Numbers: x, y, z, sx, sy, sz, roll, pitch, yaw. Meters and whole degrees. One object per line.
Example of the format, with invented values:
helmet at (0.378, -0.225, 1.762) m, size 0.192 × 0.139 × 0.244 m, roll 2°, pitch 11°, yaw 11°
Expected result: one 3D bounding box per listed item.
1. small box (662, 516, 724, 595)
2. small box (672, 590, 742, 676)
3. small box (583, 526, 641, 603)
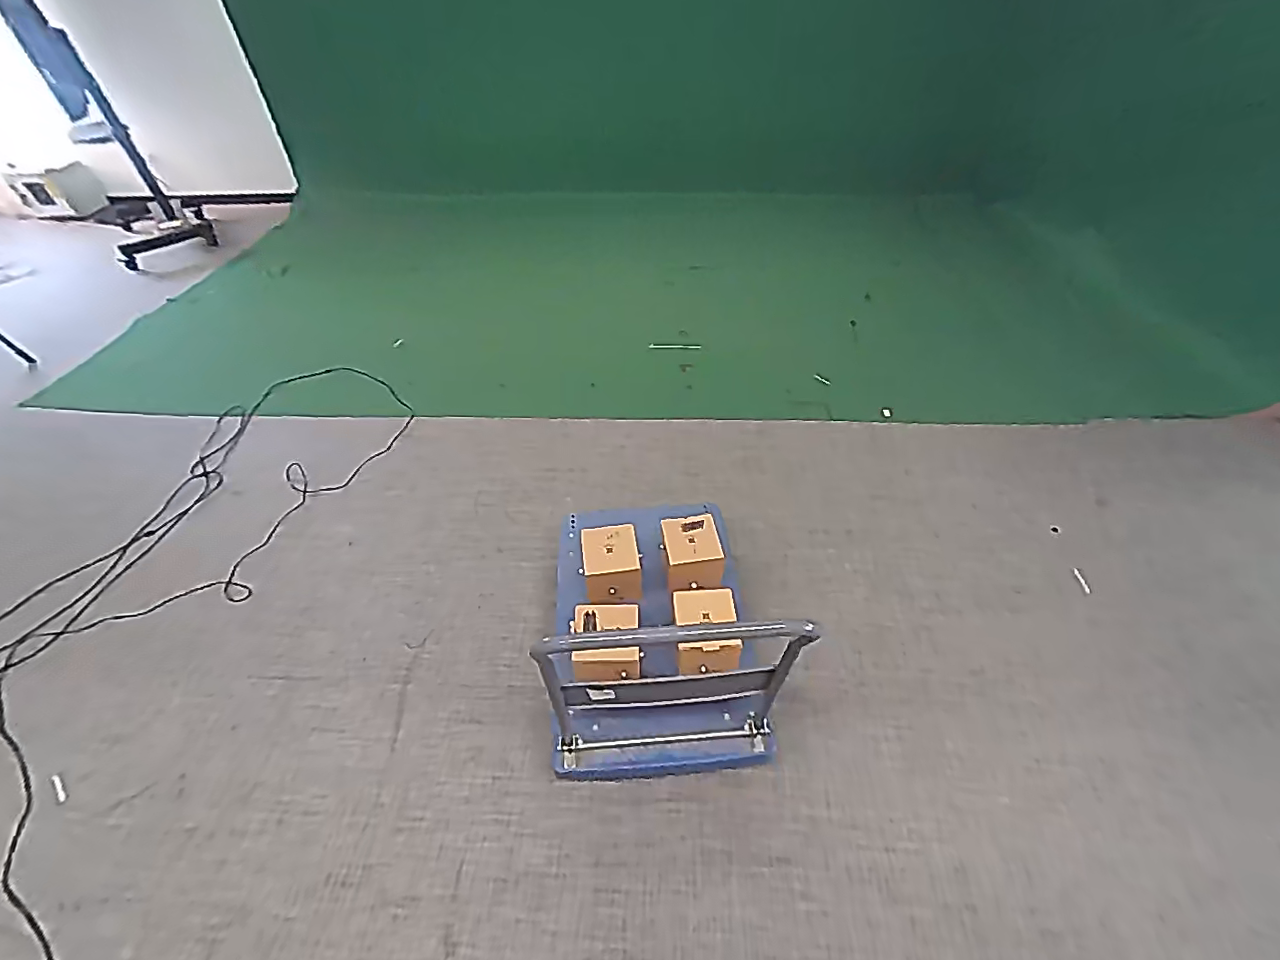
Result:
small box at (0.161, 0.241, 1.723) m, size 0.168 × 0.176 × 0.179 m, roll -7°, pitch 47°, yaw -4°
small box at (0.183, 0.435, 1.534) m, size 0.168 × 0.176 × 0.179 m, roll -3°, pitch 46°, yaw -2°
small box at (-0.088, 0.272, 1.701) m, size 0.168 × 0.176 × 0.179 m, roll -6°, pitch 46°, yaw -5°
